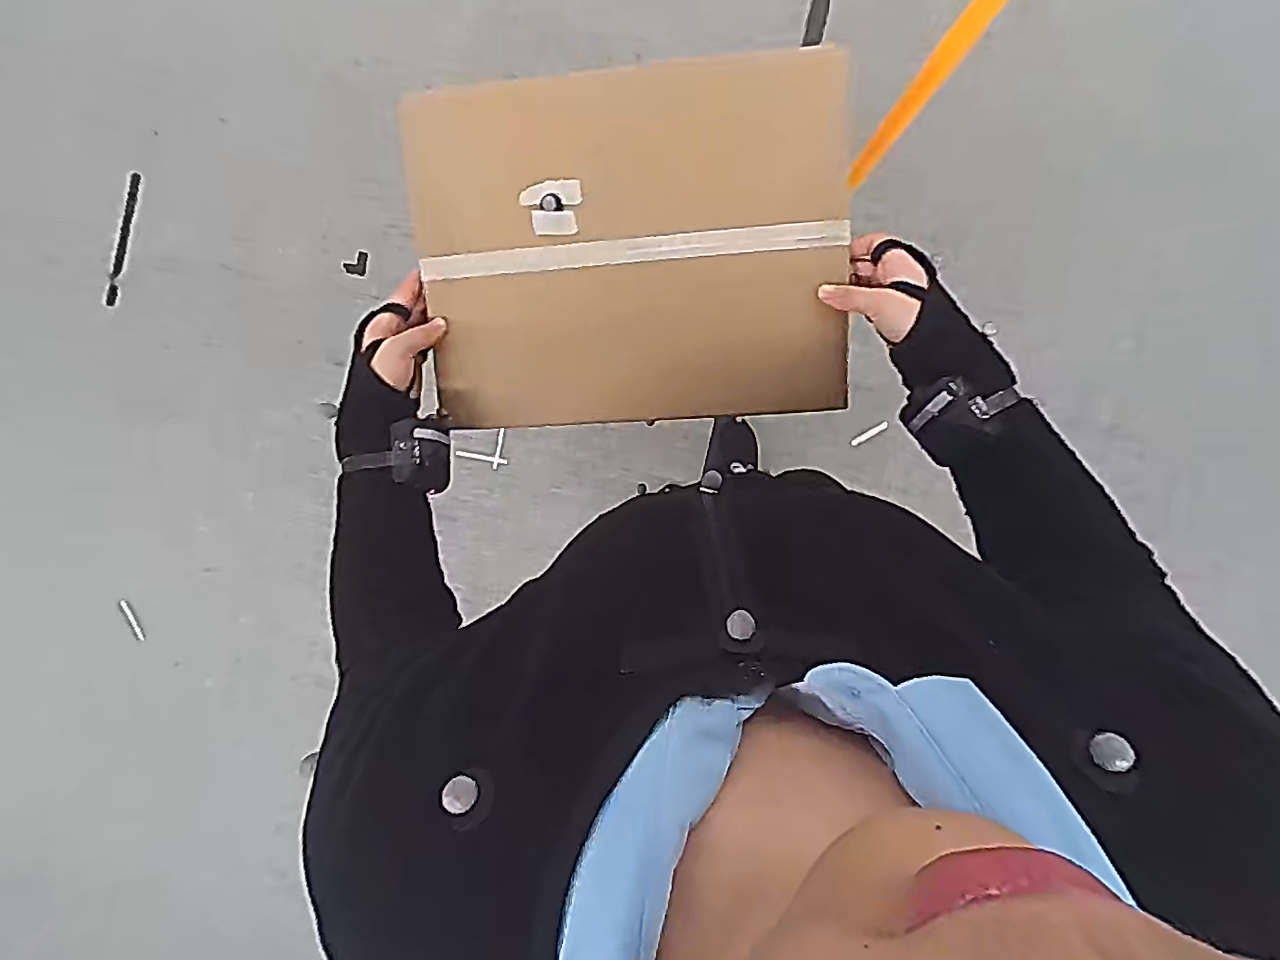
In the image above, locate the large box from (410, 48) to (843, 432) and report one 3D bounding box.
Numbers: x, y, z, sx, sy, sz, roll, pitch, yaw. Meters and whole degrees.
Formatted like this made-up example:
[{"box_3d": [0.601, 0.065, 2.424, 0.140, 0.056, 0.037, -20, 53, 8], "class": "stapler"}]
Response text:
[{"box_3d": [0.002, -0.242, 0.668, 0.408, 0.320, 0.320, -4, 98, 6], "class": "large box"}]
